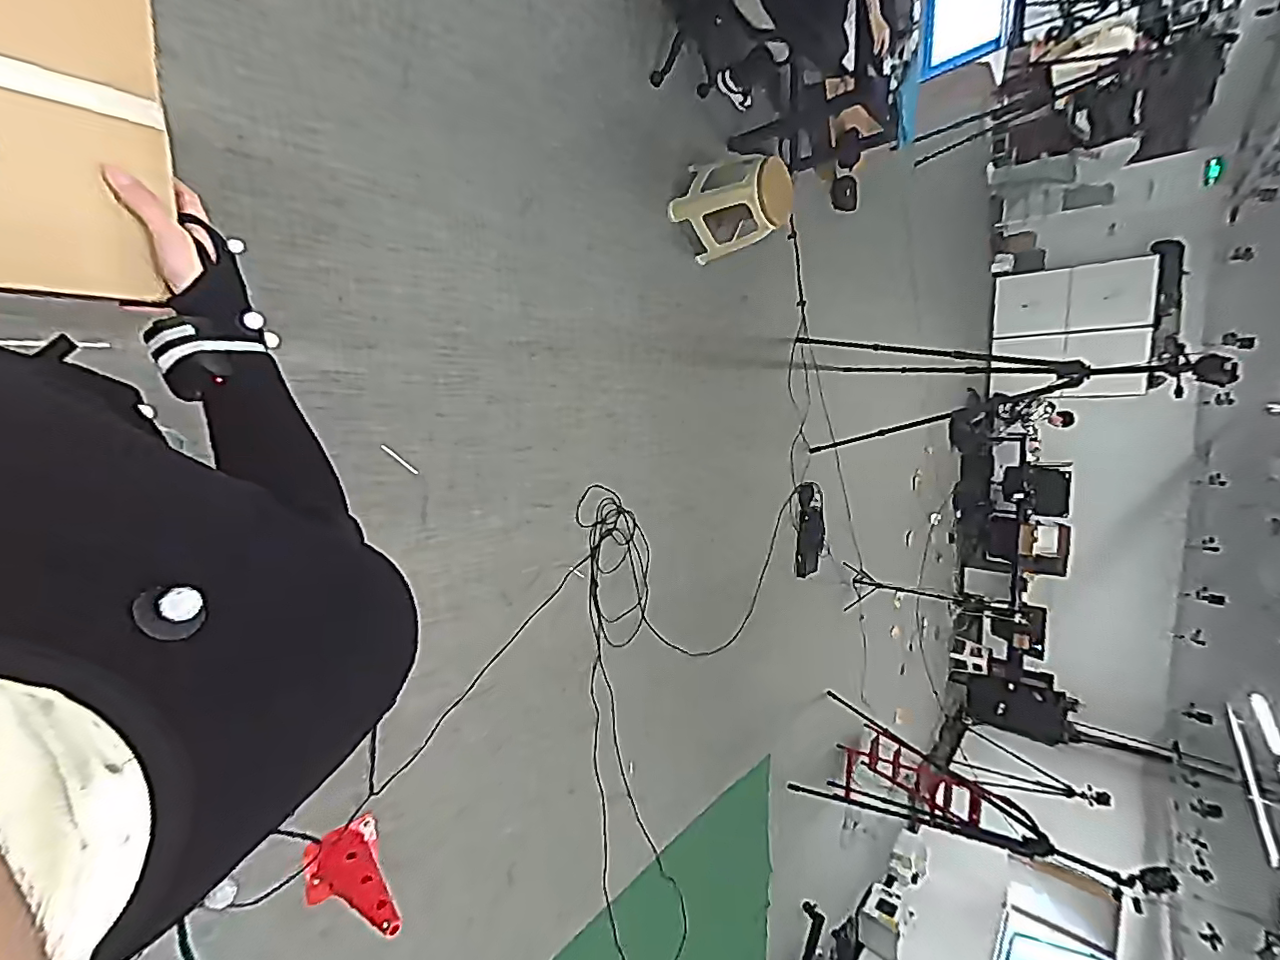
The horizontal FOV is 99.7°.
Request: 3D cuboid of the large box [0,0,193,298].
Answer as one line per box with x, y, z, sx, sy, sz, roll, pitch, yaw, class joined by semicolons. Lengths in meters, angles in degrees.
-0.667;-0.326;0.433;0.408;0.320;0.320;-12;112;-49;large box
